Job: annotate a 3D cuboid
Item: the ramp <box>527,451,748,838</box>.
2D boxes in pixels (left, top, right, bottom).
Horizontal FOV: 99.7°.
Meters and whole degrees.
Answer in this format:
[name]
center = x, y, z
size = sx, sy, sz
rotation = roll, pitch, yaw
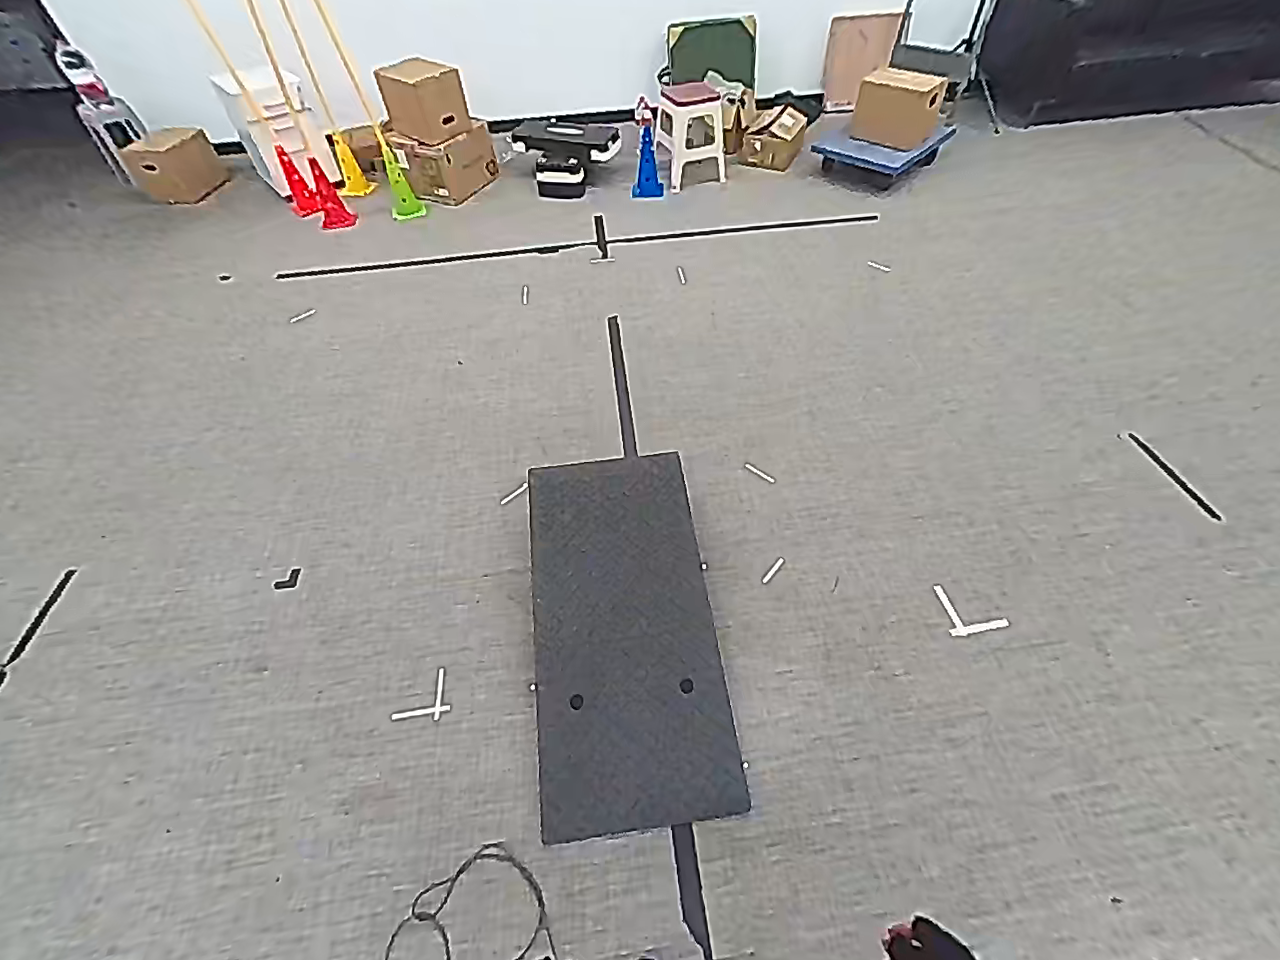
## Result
[ramp]
center = -0.048, 0.367, 1.500
size = 0.509, 0.206, 0.991
rotation = -8, 51, -5
